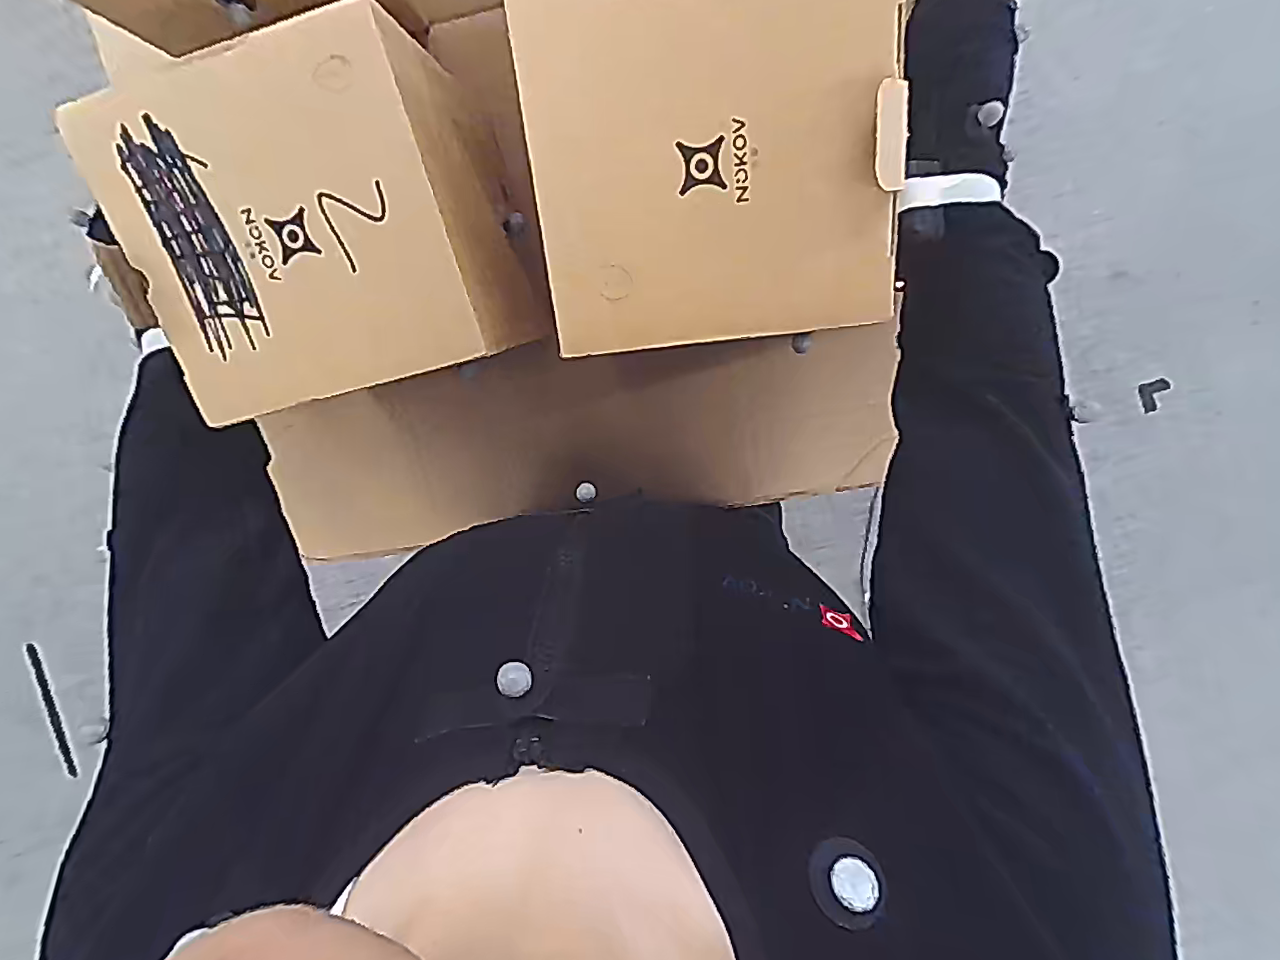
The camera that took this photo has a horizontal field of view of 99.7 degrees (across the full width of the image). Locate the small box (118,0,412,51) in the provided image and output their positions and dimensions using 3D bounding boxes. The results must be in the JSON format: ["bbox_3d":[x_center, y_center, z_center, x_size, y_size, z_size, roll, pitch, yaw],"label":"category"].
[{"bbox_3d":[-0.254,-0.380,0.298,0.168,0.176,0.179,-10,103,7],"label":"small box"}]
